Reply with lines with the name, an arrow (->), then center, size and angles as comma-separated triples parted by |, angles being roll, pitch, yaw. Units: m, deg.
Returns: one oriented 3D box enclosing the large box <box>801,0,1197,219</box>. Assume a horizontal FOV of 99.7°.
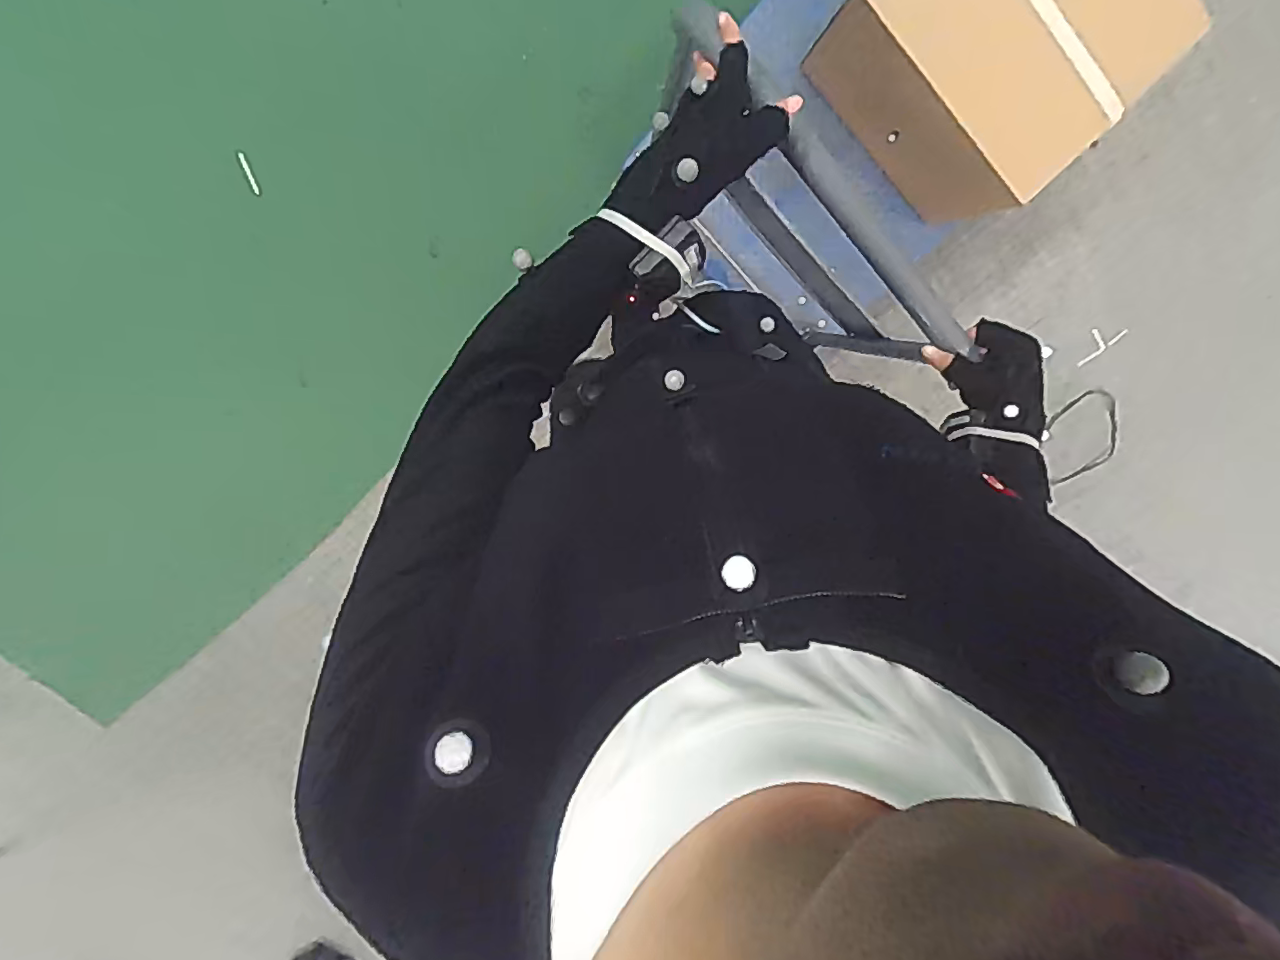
large box -> 0.549, -0.715, 0.904 | 0.408, 0.320, 0.320 | 41, 105, -13
